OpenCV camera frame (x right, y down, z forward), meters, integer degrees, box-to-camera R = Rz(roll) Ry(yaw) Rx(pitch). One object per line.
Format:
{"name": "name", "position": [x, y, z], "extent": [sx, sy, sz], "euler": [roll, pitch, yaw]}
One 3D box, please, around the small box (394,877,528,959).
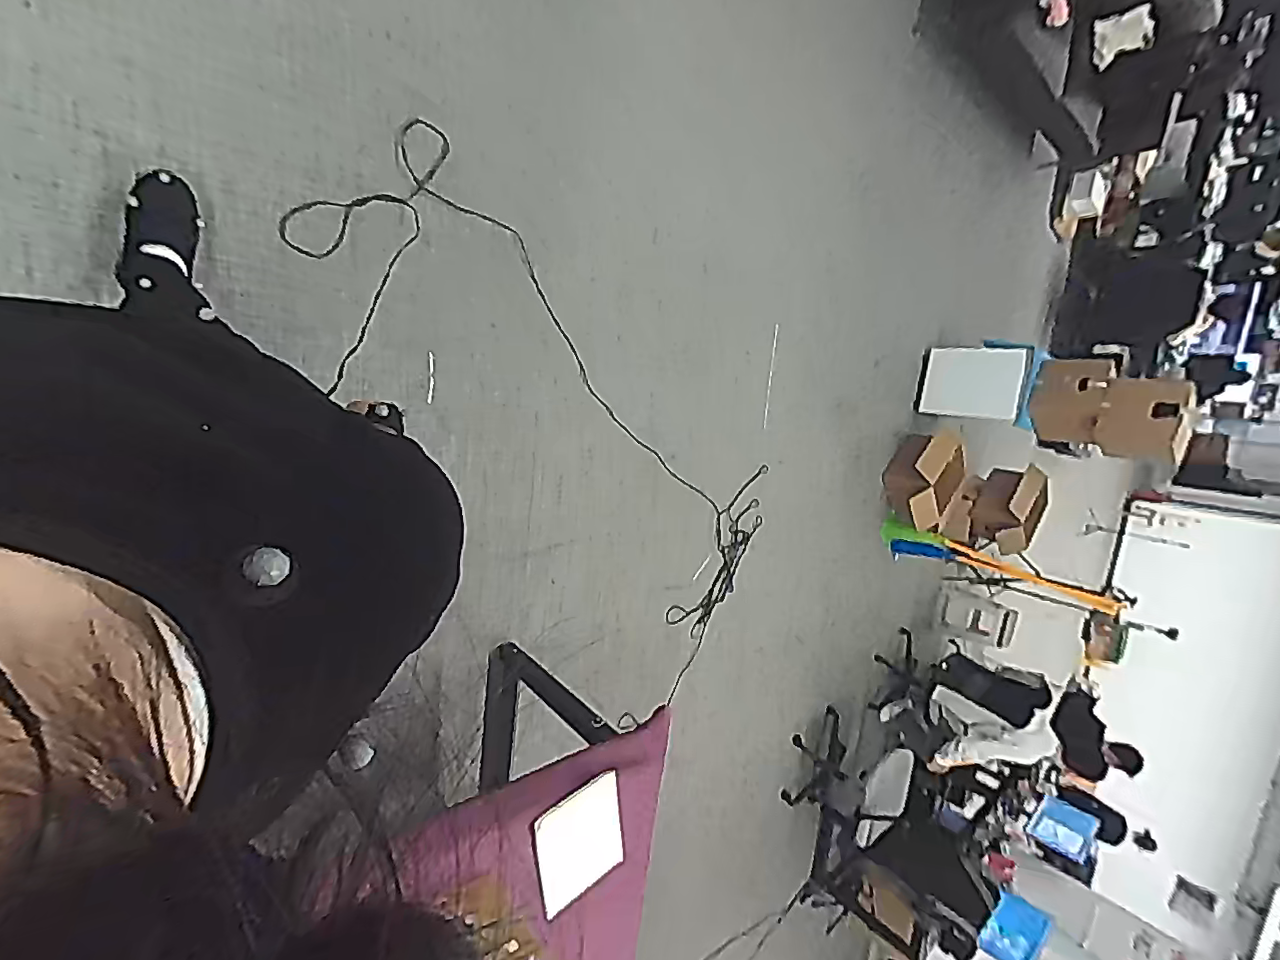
{"name": "small box", "position": [-0.310, 0.825, 0.919], "extent": [0.168, 0.176, 0.179], "euler": [1, 100, -41]}

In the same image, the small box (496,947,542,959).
{"name": "small box", "position": [-0.203, 0.851, 0.796], "extent": [0.168, 0.176, 0.179], "euler": [1, 101, -41]}
